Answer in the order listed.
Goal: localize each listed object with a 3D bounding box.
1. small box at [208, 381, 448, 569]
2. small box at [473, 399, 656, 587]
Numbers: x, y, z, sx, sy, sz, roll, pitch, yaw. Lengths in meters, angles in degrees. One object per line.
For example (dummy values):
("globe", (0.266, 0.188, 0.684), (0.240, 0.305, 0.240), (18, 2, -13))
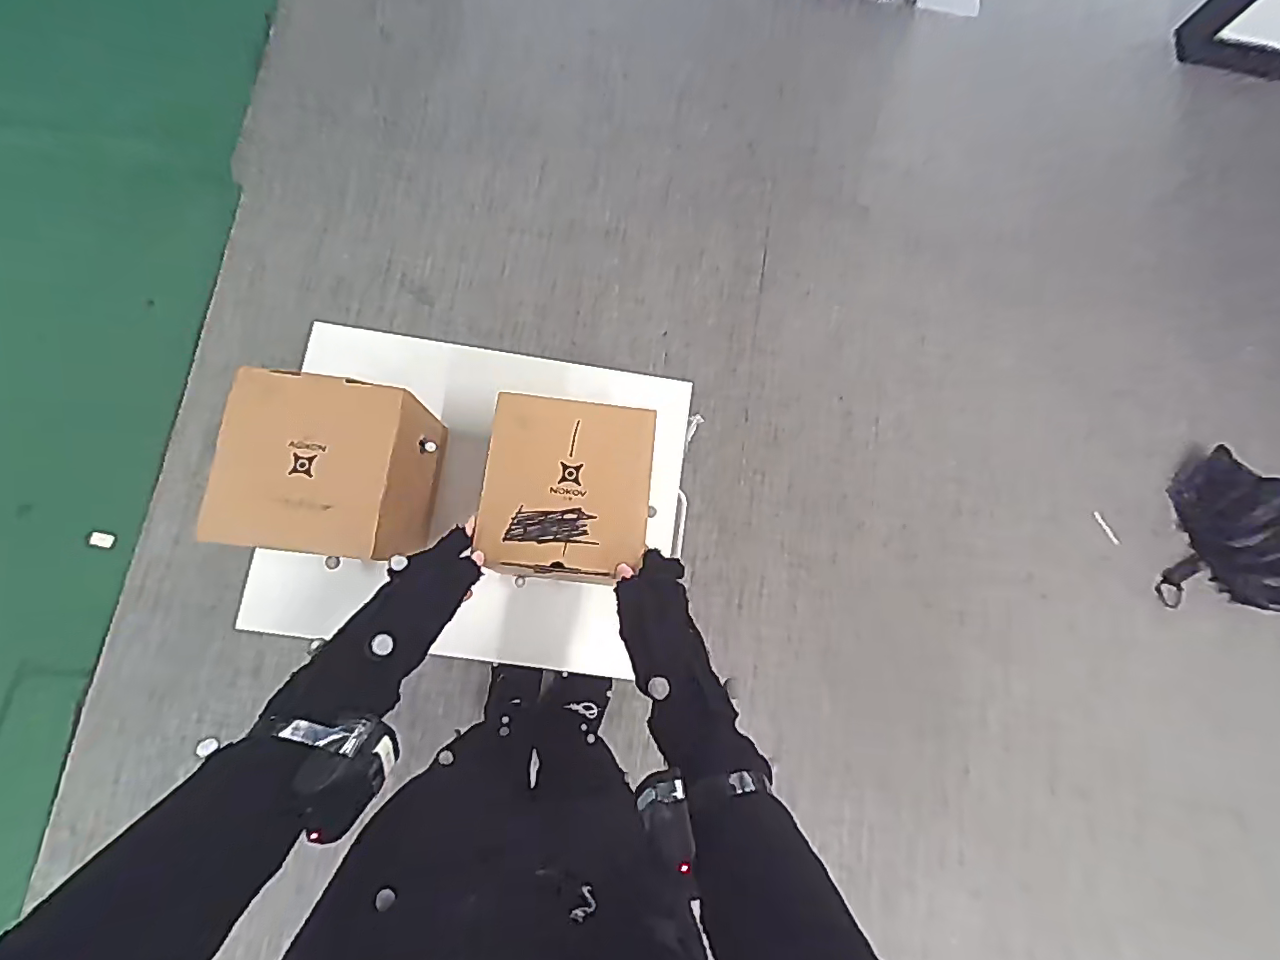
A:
("small box", (-0.328, 0.005, 0.609), (0.168, 0.176, 0.179), (5, 81, -3))
("small box", (-0.076, 0.026, 0.615), (0.168, 0.176, 0.179), (6, 76, -3))
